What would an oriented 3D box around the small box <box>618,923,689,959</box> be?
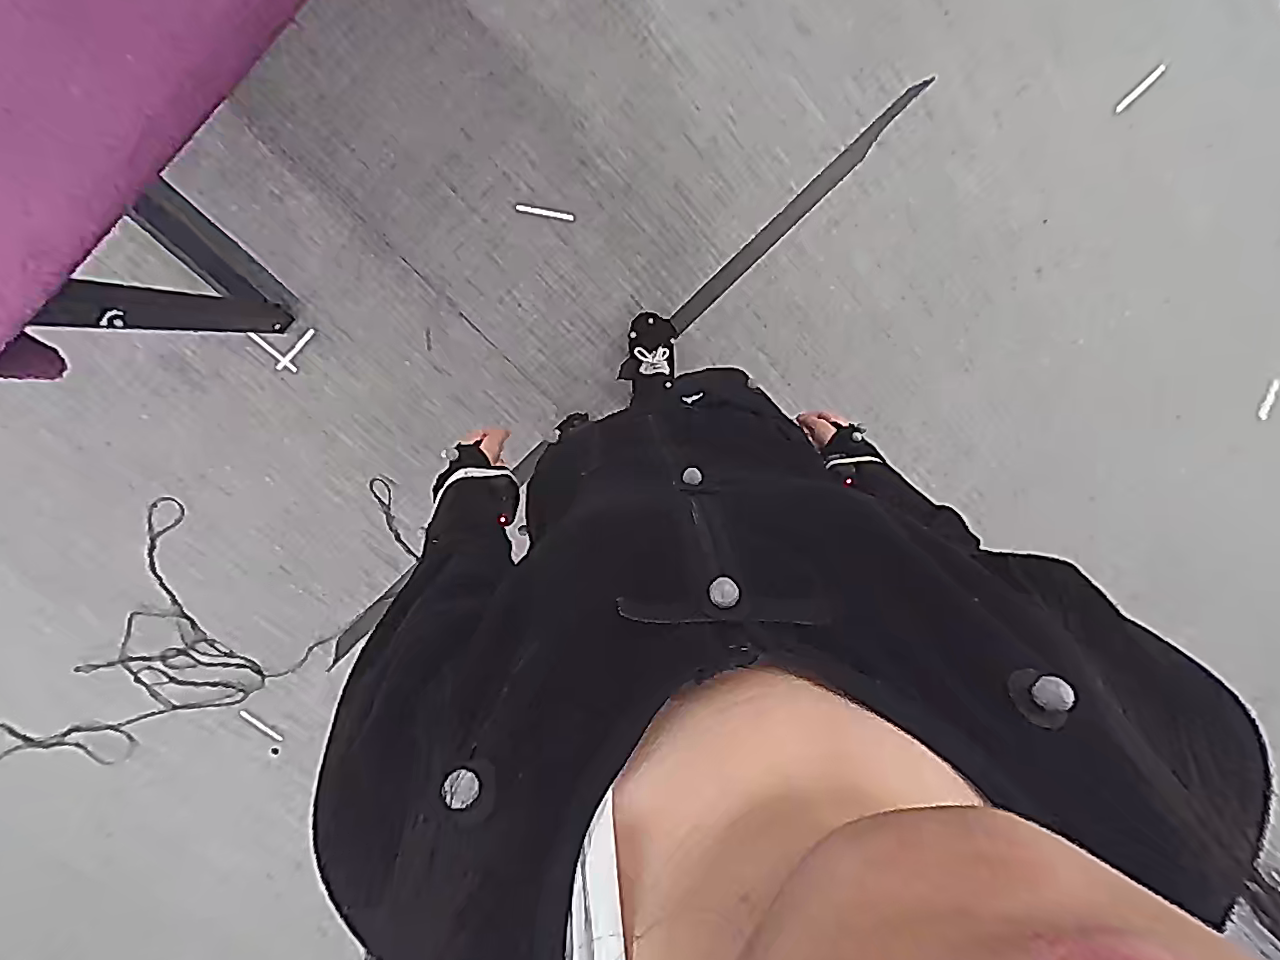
[{"bbox_3d":[0.037,1.321,1.432,0.179,0.176,0.168,4,102,-5],"label":"small box"}]
